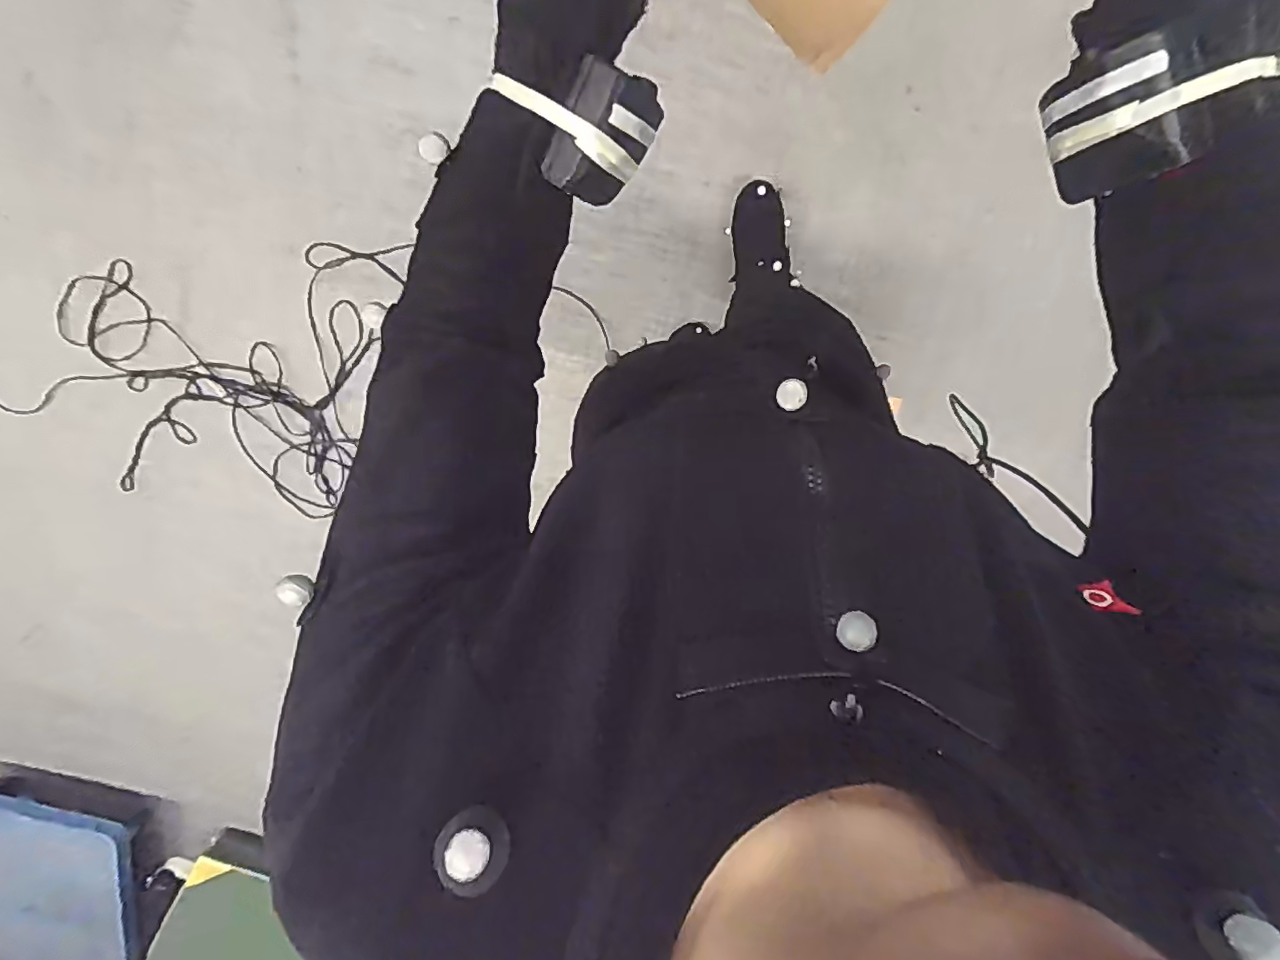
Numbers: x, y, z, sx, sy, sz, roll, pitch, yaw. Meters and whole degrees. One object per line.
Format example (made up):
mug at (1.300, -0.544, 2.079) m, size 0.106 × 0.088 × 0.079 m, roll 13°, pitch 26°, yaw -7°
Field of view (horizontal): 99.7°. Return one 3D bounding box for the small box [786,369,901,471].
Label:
small box at (0.454, -0.145, 1.239) m, size 0.168 × 0.176 × 0.179 m, roll 16°, pitch 107°, yaw -4°
